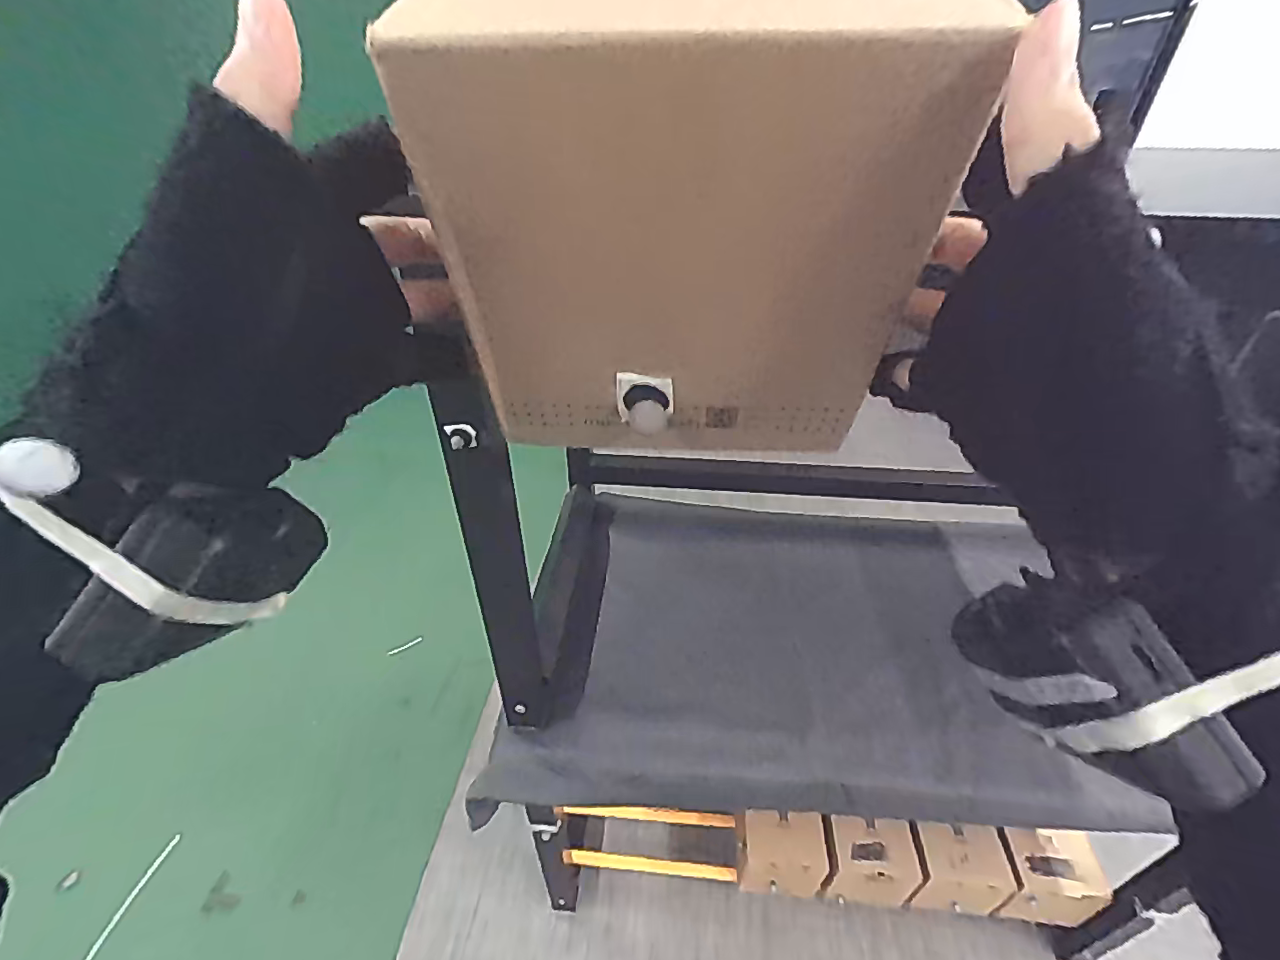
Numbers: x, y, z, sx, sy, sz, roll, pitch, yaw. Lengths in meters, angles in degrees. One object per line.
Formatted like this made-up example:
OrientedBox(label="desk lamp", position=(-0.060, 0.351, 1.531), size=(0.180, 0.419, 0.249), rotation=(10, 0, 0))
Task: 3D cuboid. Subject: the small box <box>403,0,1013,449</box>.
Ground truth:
OrientedBox(label="small box", position=(0.020, -0.135, 0.256), size=(0.168, 0.176, 0.179), rotation=(0, 54, 2))
